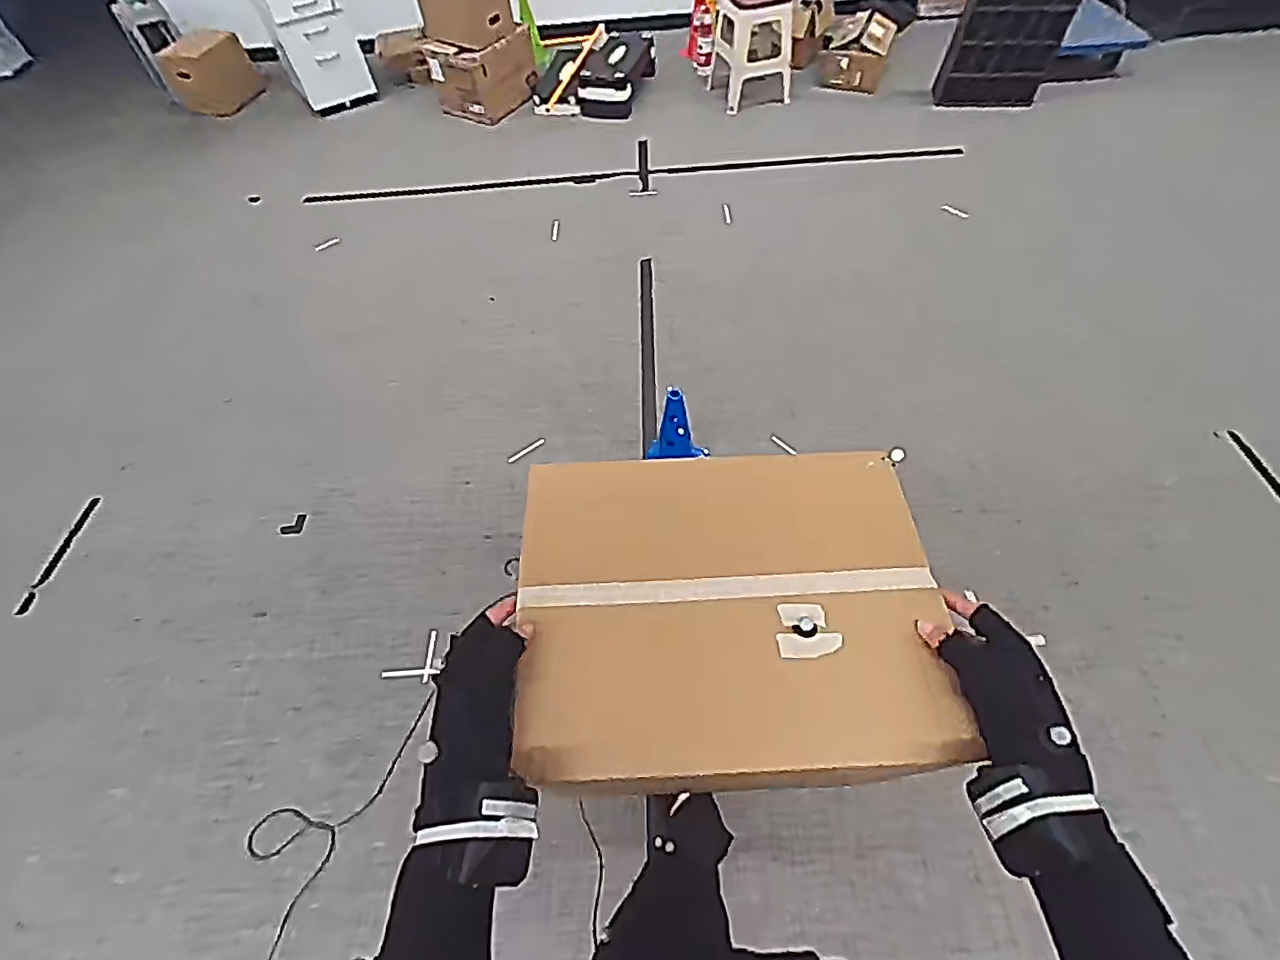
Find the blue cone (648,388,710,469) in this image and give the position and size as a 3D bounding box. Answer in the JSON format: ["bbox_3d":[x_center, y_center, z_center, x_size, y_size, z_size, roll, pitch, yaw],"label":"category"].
[{"bbox_3d":[0.110,-0.125,1.619,0.193,0.380,0.192,15,58,13],"label":"blue cone"}]

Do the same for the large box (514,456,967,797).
[{"bbox_3d":[0.081,0.192,0.668,0.408,0.320,0.320,-3,57,-1],"label":"large box"}]
